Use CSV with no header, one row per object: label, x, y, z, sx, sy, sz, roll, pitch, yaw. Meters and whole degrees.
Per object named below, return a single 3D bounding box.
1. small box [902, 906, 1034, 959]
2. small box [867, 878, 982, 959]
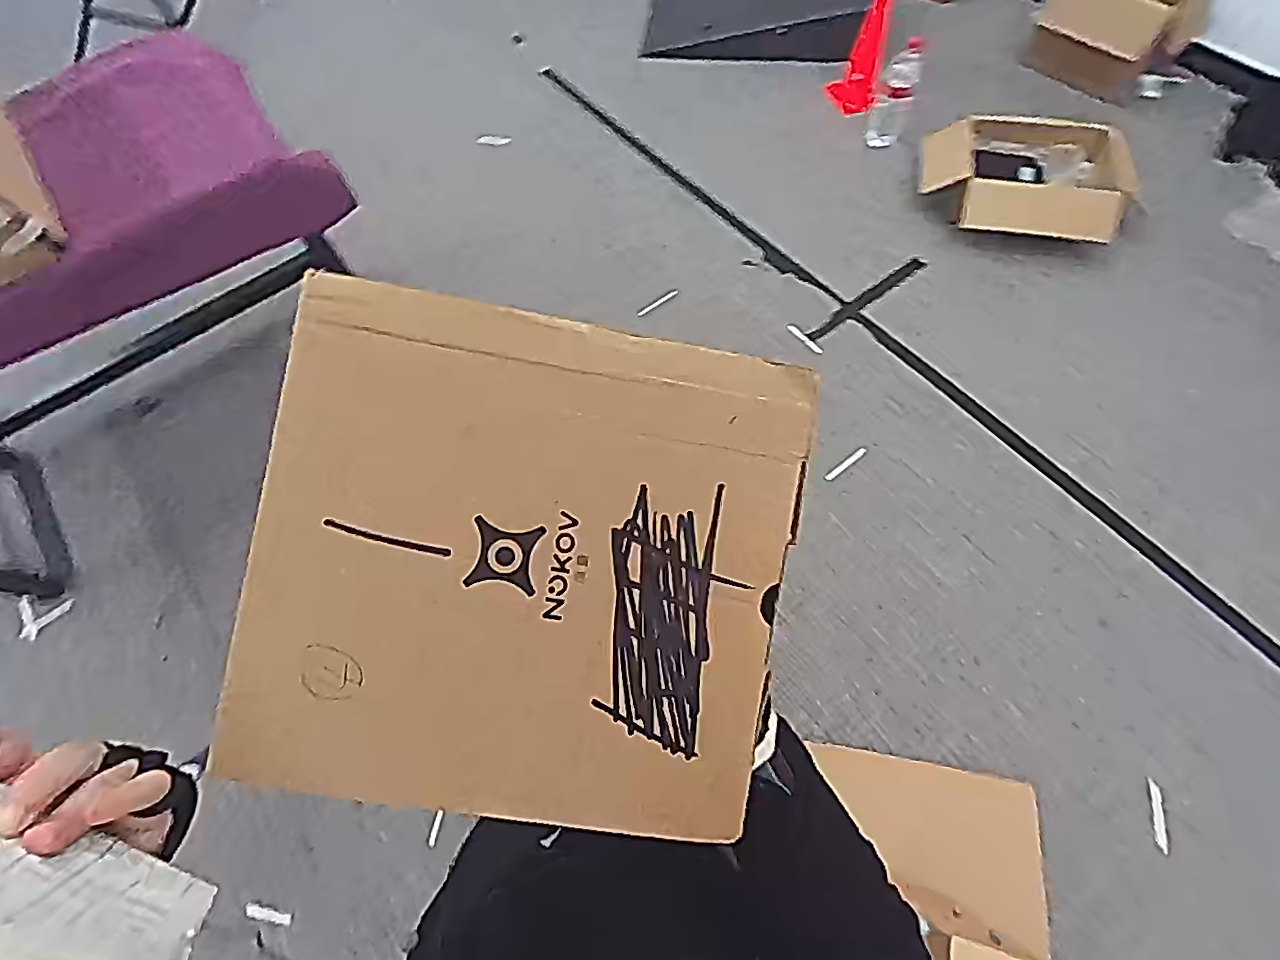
small box,0.539,0.838,0.875,0.168,0.176,0.179,14,70,8
small box,0.544,0.904,1.025,0.168,0.176,0.179,12,70,7
